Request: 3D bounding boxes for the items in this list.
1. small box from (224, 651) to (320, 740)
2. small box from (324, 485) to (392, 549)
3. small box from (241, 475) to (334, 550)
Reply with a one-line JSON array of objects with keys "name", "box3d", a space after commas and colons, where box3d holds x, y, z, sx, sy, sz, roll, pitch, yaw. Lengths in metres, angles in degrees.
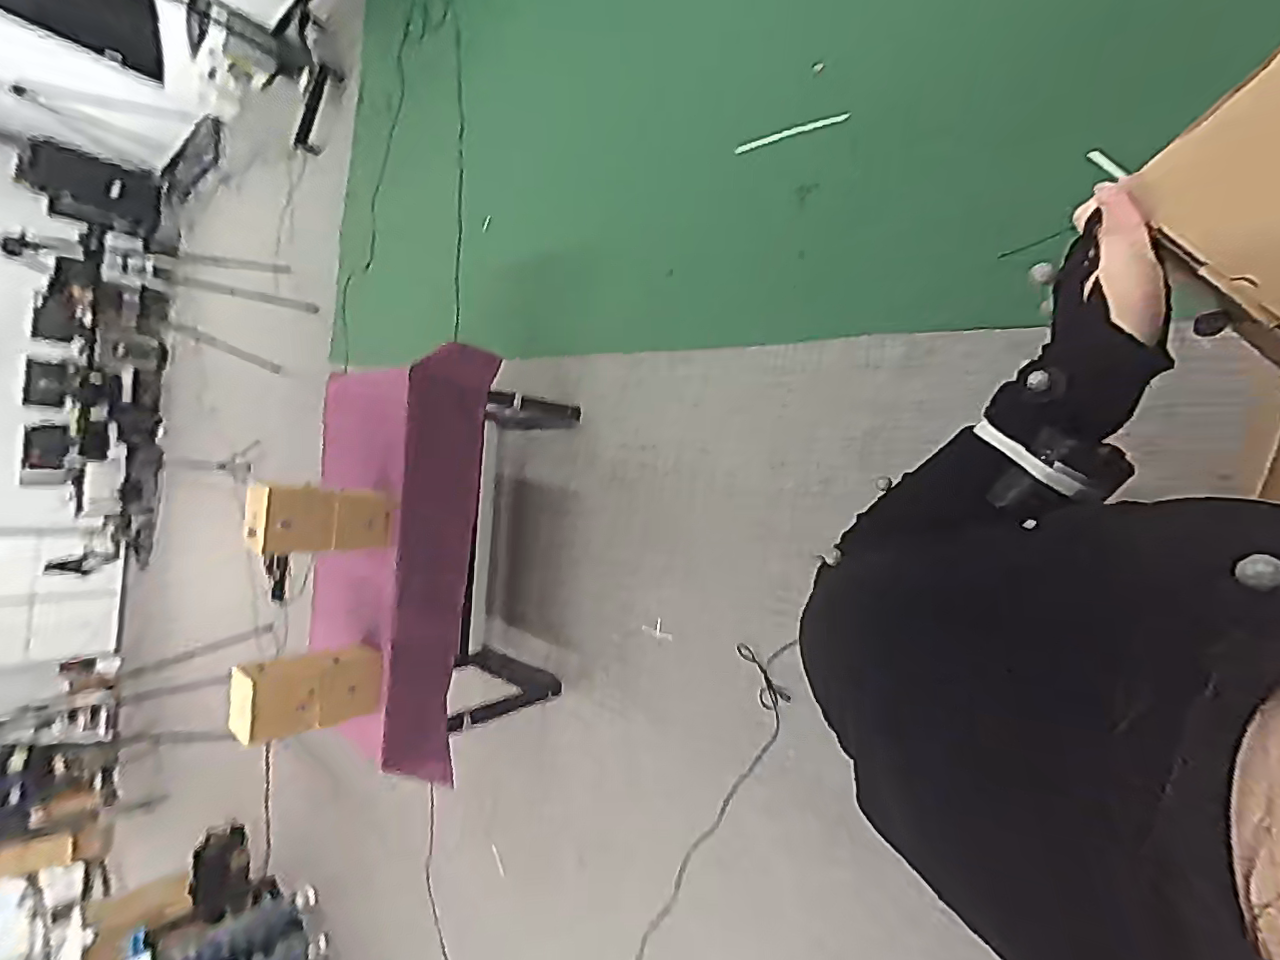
[{"name": "small box", "box3d": [-1.012, 0.582, 1.488, 0.179, 0.176, 0.168, 4, 90, 38]}, {"name": "small box", "box3d": [-0.861, 0.104, 1.609, 0.179, 0.176, 0.168, 8, 92, 39]}, {"name": "small box", "box3d": [-0.965, 0.087, 1.482, 0.168, 0.176, 0.179, 9, 92, 38]}]
